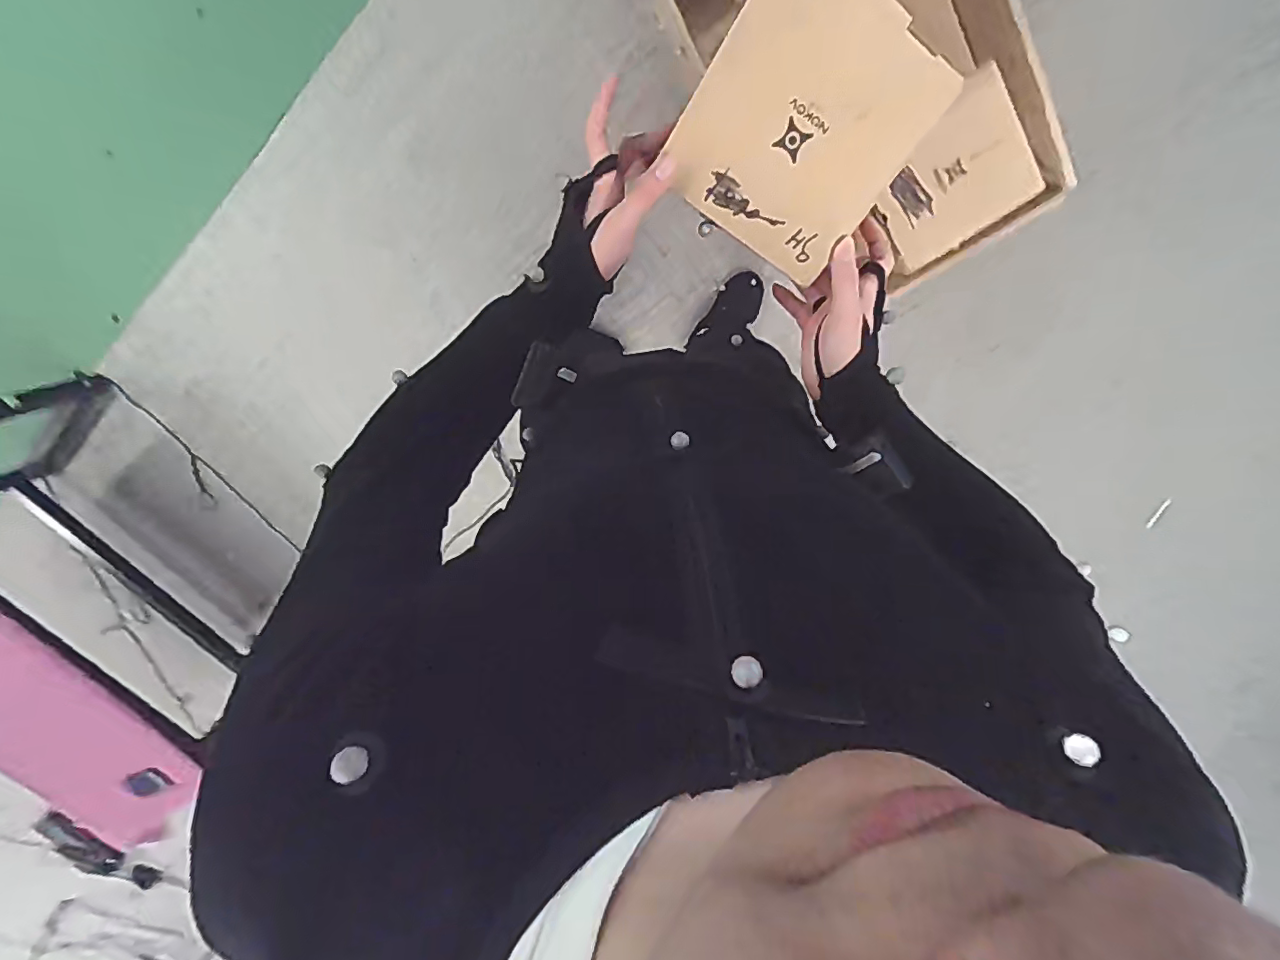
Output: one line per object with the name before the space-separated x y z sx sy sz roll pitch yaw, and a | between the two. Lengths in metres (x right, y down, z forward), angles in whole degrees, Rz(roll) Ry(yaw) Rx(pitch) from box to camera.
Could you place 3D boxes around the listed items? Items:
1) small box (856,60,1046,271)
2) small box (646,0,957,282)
small box | 0.393 -0.411 0.739 0.179 0.176 0.168 -31 108 20
small box | 0.118 -0.308 0.473 0.168 0.176 0.179 30 117 -13
